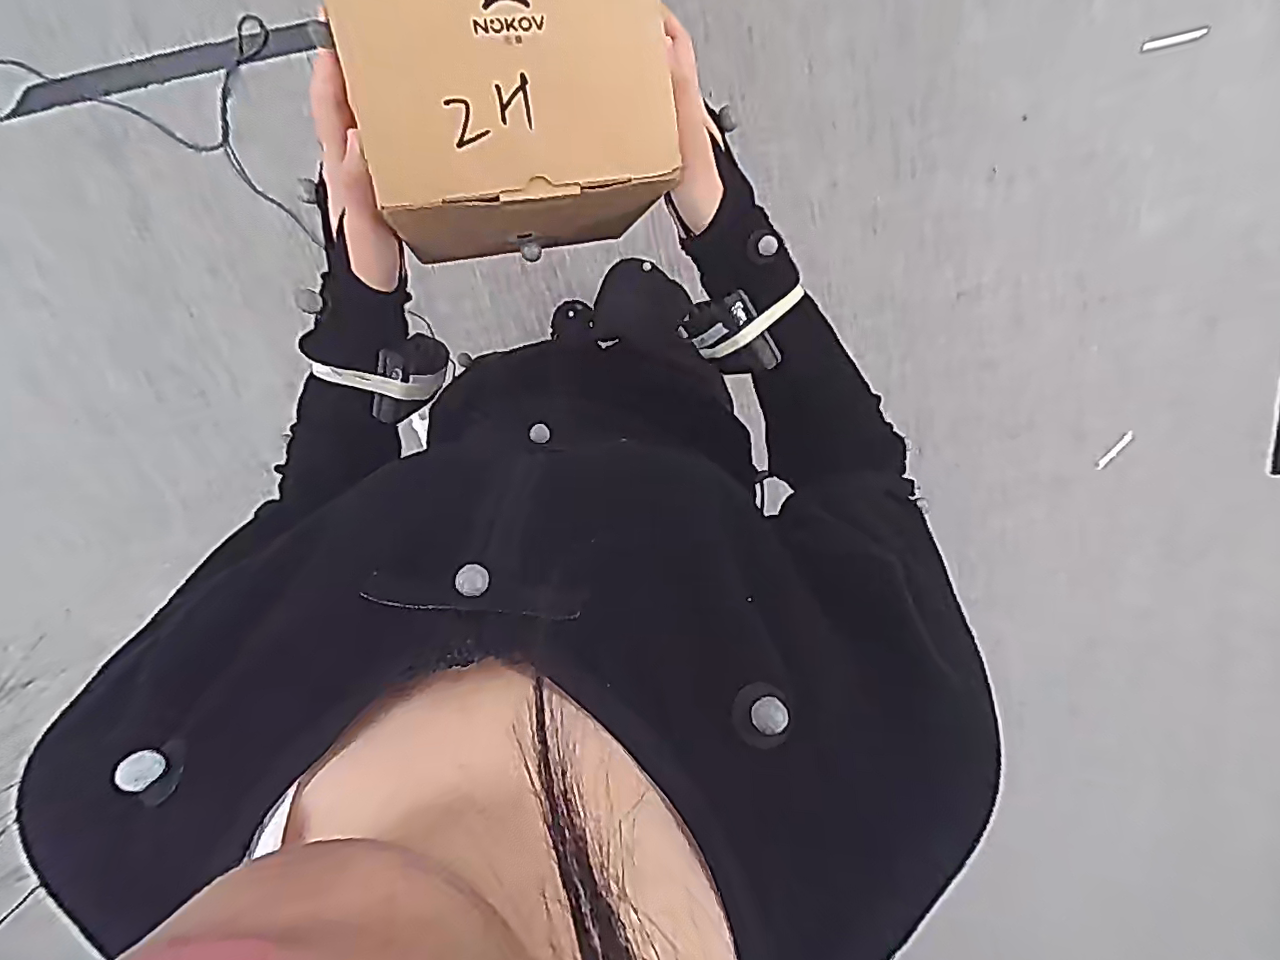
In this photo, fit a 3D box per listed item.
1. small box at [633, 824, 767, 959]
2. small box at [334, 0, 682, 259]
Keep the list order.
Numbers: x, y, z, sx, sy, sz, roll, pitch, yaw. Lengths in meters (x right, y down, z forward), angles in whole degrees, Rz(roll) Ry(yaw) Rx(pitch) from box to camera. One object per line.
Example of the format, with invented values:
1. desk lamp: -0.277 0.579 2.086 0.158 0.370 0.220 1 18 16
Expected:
1. small box: 0.087 0.651 0.809 0.168 0.176 0.179 -12 107 0
2. small box: -0.086 -0.256 0.345 0.168 0.176 0.179 -13 105 -11
